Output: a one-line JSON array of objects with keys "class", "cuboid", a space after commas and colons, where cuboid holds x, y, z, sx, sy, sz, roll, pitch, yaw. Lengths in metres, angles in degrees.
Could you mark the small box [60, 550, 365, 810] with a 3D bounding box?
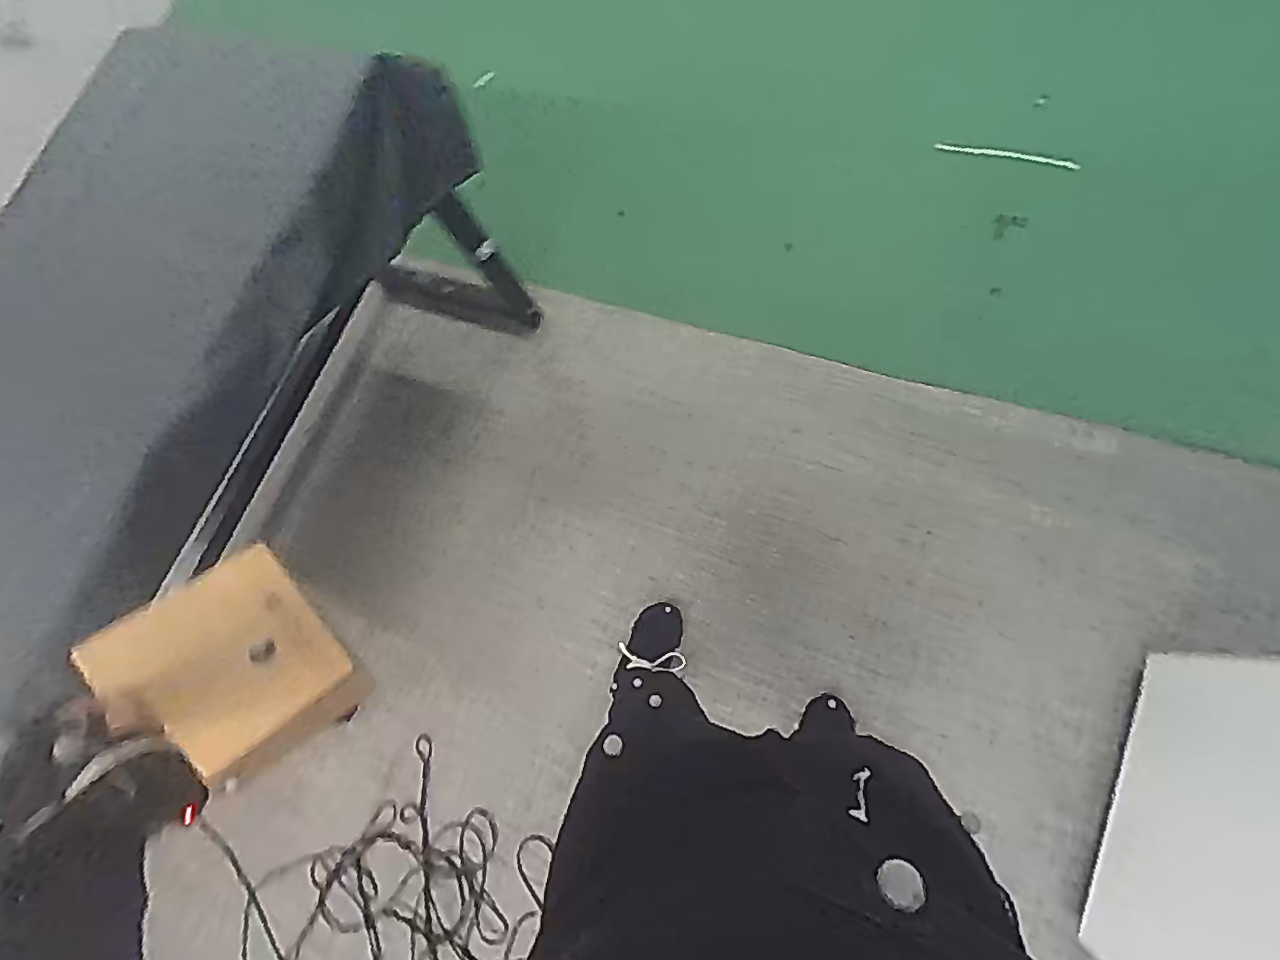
[{"class": "small box", "cuboid": [-0.414, 0.201, 0.565, 0.176, 0.179, 0.168, -38, 82, -30]}]
